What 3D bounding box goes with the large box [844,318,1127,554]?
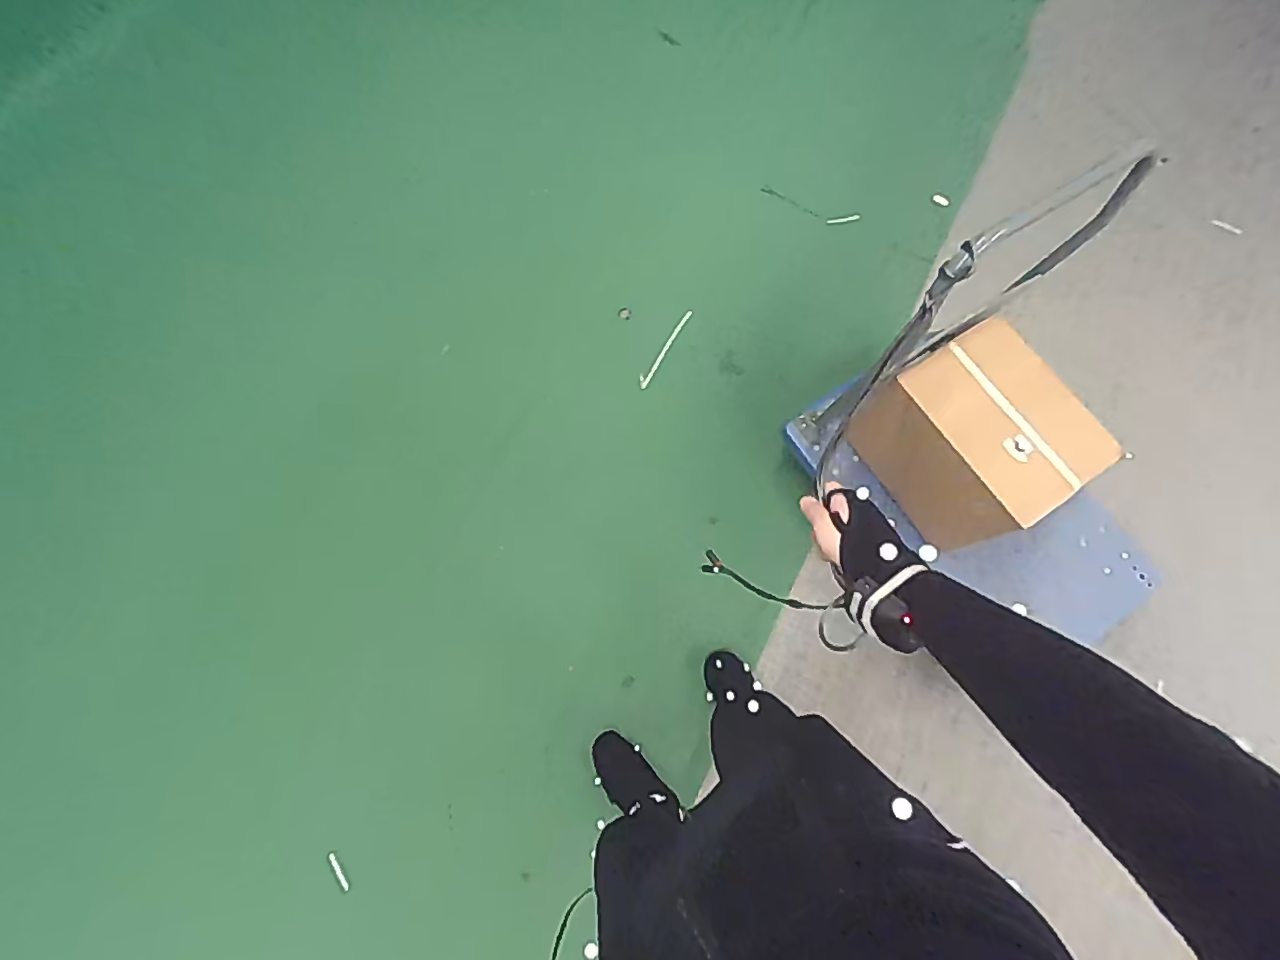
[{"bbox_3d":[0.778,-0.090,1.284,0.320,0.320,0.408,-32,78,-11],"label":"large box"}]
